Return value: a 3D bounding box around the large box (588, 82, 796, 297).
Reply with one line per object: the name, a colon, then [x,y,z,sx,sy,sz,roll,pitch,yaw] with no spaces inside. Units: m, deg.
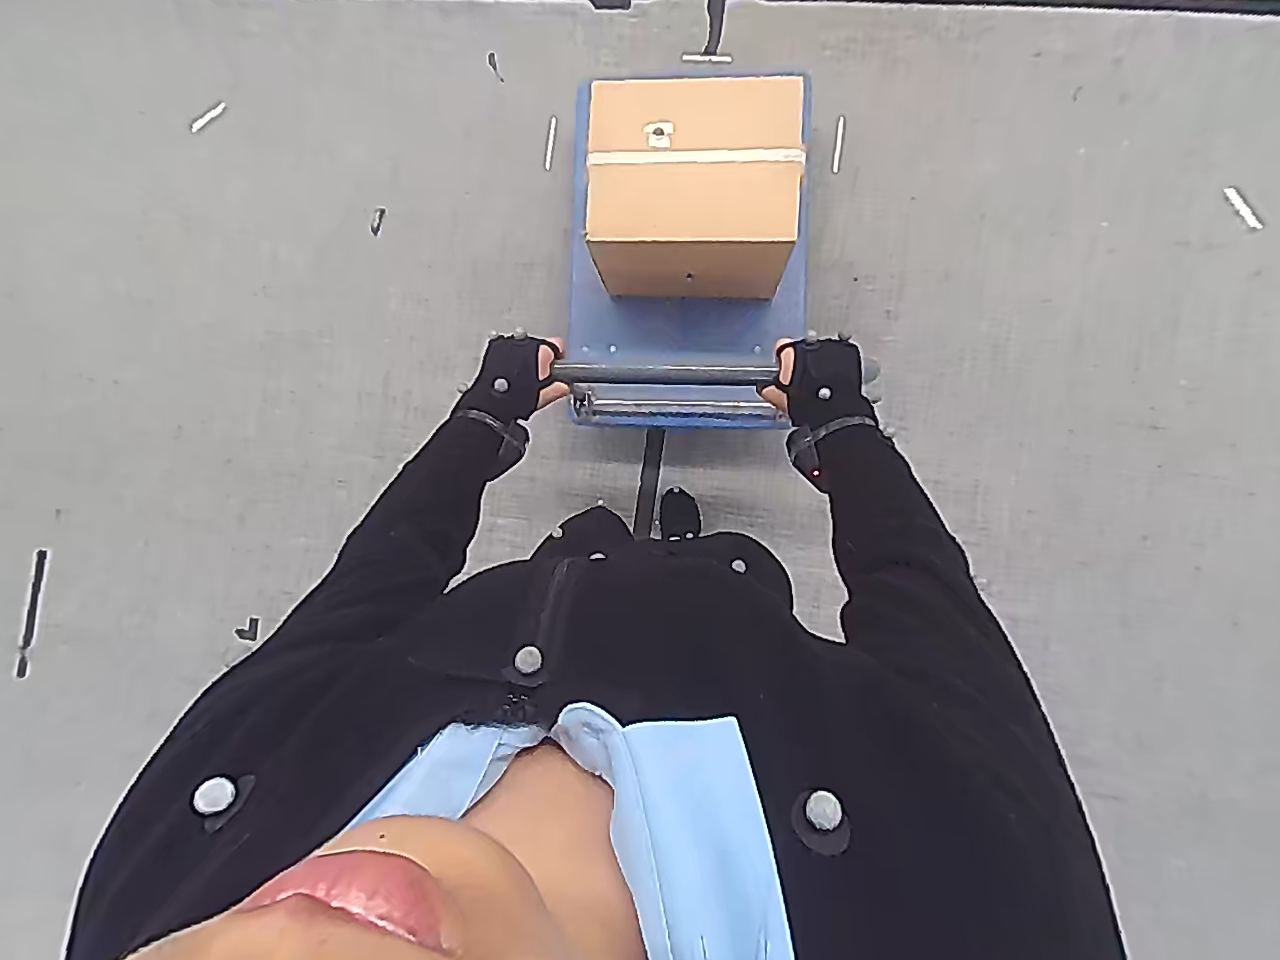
large box: [0.115,-0.608,1.195,0.408,0.320,0.320,2,89,6]
